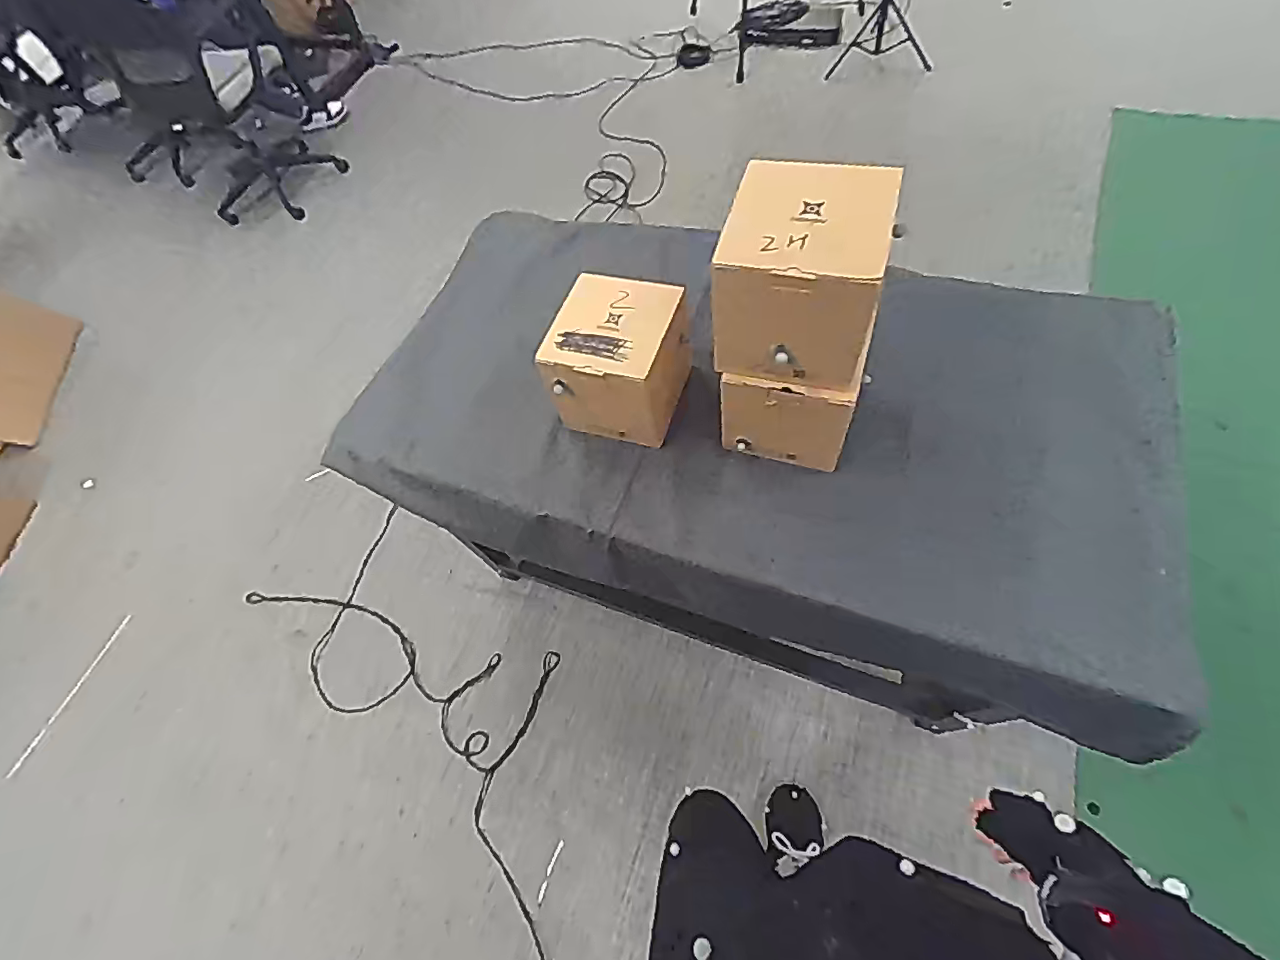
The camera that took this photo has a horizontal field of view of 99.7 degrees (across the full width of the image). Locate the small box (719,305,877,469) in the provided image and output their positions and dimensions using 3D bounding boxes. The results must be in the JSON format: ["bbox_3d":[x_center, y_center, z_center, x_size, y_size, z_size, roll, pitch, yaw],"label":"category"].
[{"bbox_3d":[0.216,-0.138,0.758,0.168,0.176,0.179,14,65,16],"label":"small box"}]

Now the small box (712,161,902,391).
[{"bbox_3d":[0.185,-0.231,0.625,0.168,0.176,0.179,13,65,16],"label":"small box"}]
